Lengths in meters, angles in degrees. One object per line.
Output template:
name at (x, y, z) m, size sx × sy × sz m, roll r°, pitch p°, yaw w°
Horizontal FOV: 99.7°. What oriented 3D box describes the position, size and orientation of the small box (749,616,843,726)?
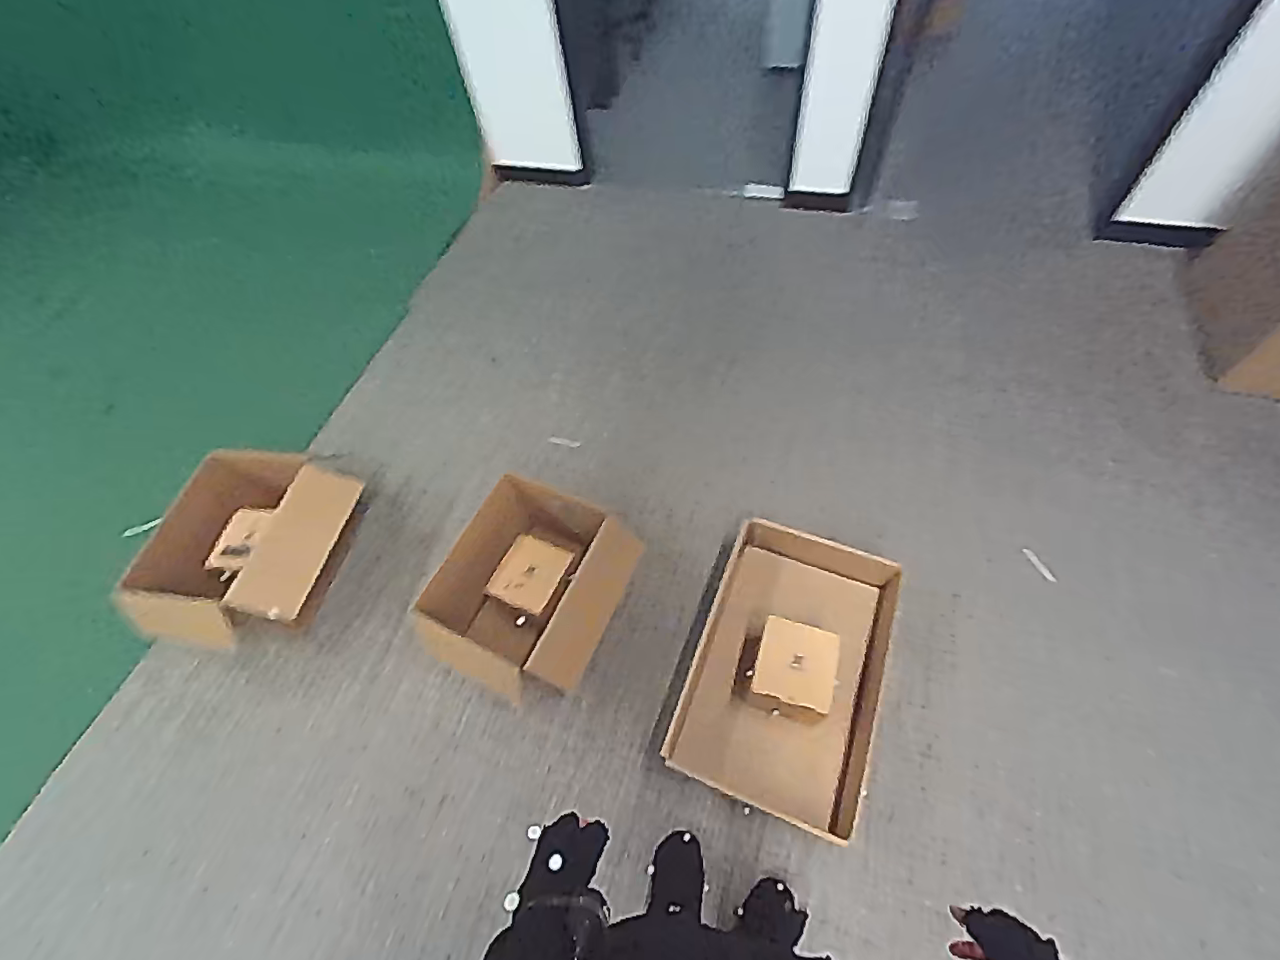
small box at (0.352, 0.440, 1.239) m, size 0.168 × 0.176 × 0.179 m, roll 14°, pitch 61°, yaw 14°
